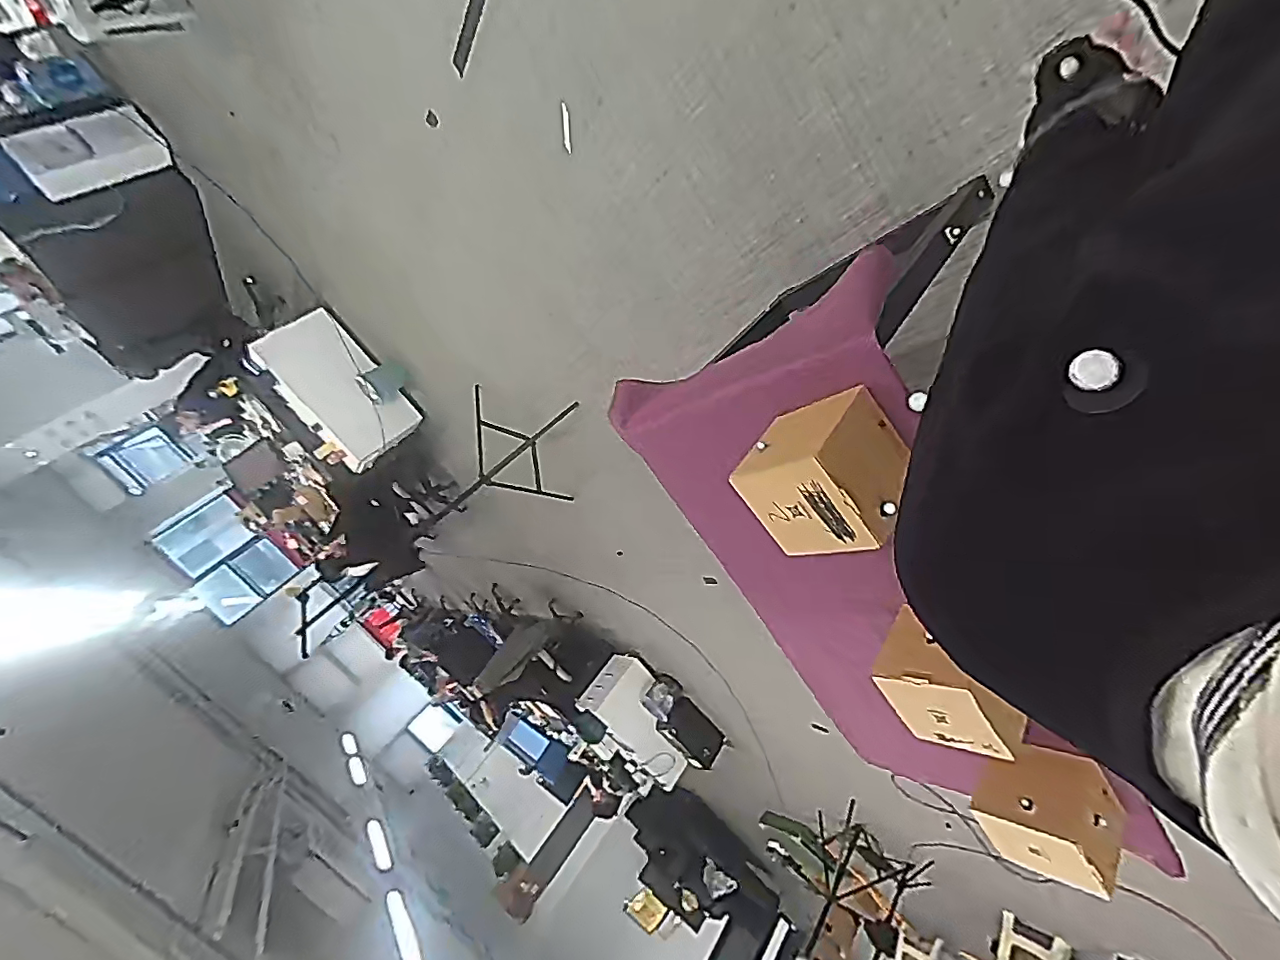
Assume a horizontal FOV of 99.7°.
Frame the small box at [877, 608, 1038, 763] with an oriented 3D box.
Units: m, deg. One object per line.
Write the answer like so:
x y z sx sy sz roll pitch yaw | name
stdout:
0.547 0.339 0.930 0.179 0.176 0.168 52 148 -15 | small box

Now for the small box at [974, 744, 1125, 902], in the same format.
0.779 0.629 1.022 0.168 0.176 0.179 53 149 -14 | small box
